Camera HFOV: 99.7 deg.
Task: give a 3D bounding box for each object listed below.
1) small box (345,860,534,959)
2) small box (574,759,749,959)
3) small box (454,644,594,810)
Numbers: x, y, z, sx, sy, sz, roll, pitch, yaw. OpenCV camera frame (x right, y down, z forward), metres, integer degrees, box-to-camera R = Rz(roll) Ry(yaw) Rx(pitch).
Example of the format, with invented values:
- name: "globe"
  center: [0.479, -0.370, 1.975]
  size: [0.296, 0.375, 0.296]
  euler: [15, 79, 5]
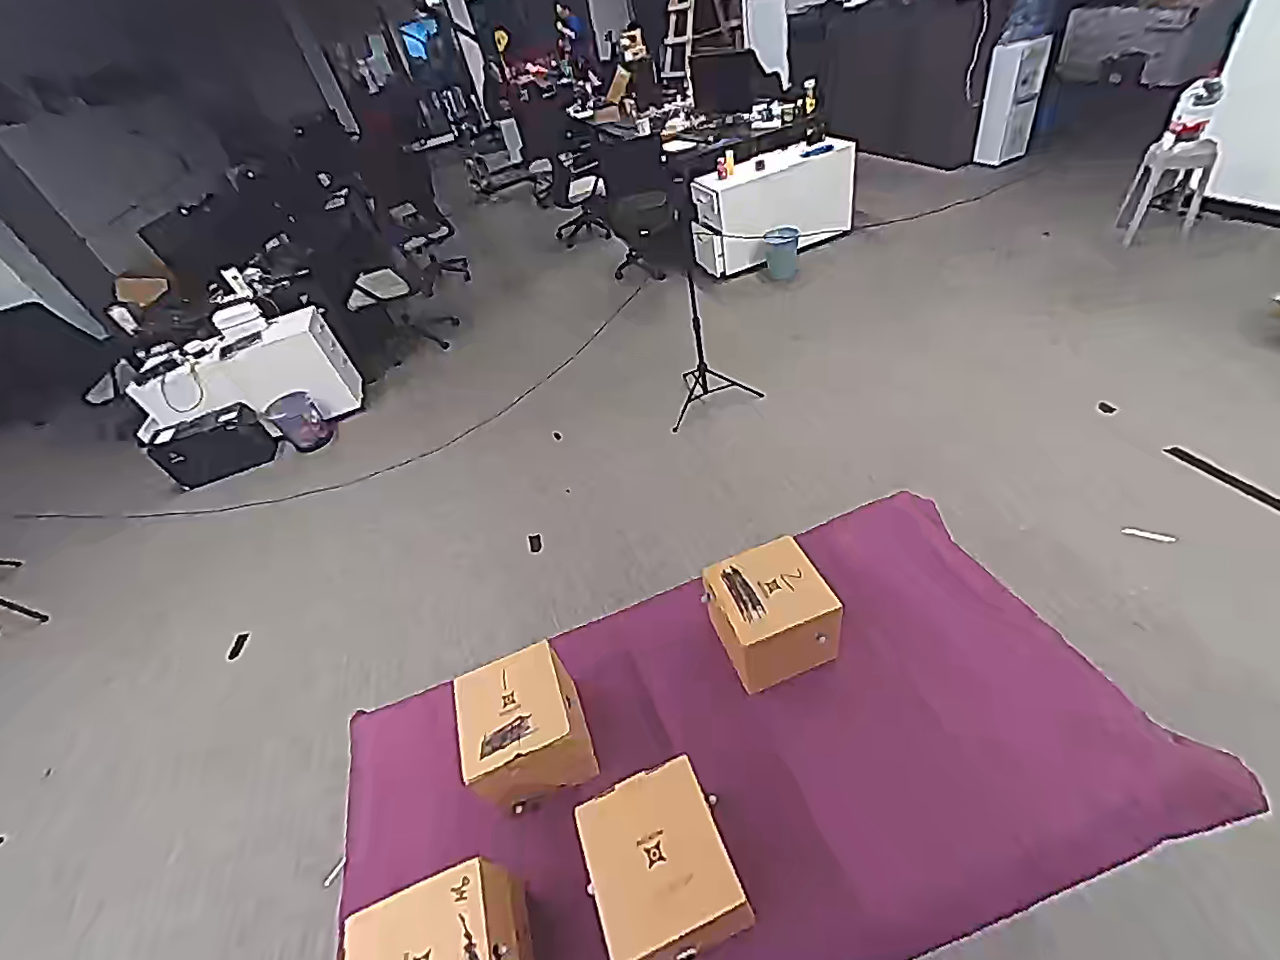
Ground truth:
- name: "small box"
  center: [-0.243, 0.622, 0.677]
  size: [0.179, 0.176, 0.168]
  euler: [-22, 42, -6]
- name: "small box"
  center: [0.030, 0.515, 0.715]
  size: [0.168, 0.176, 0.179]
  euler: [-23, 44, -7]
- name: "small box"
  center: [-0.189, 0.413, 0.892]
  size: [0.168, 0.176, 0.179]
  euler: [-22, 42, -7]
